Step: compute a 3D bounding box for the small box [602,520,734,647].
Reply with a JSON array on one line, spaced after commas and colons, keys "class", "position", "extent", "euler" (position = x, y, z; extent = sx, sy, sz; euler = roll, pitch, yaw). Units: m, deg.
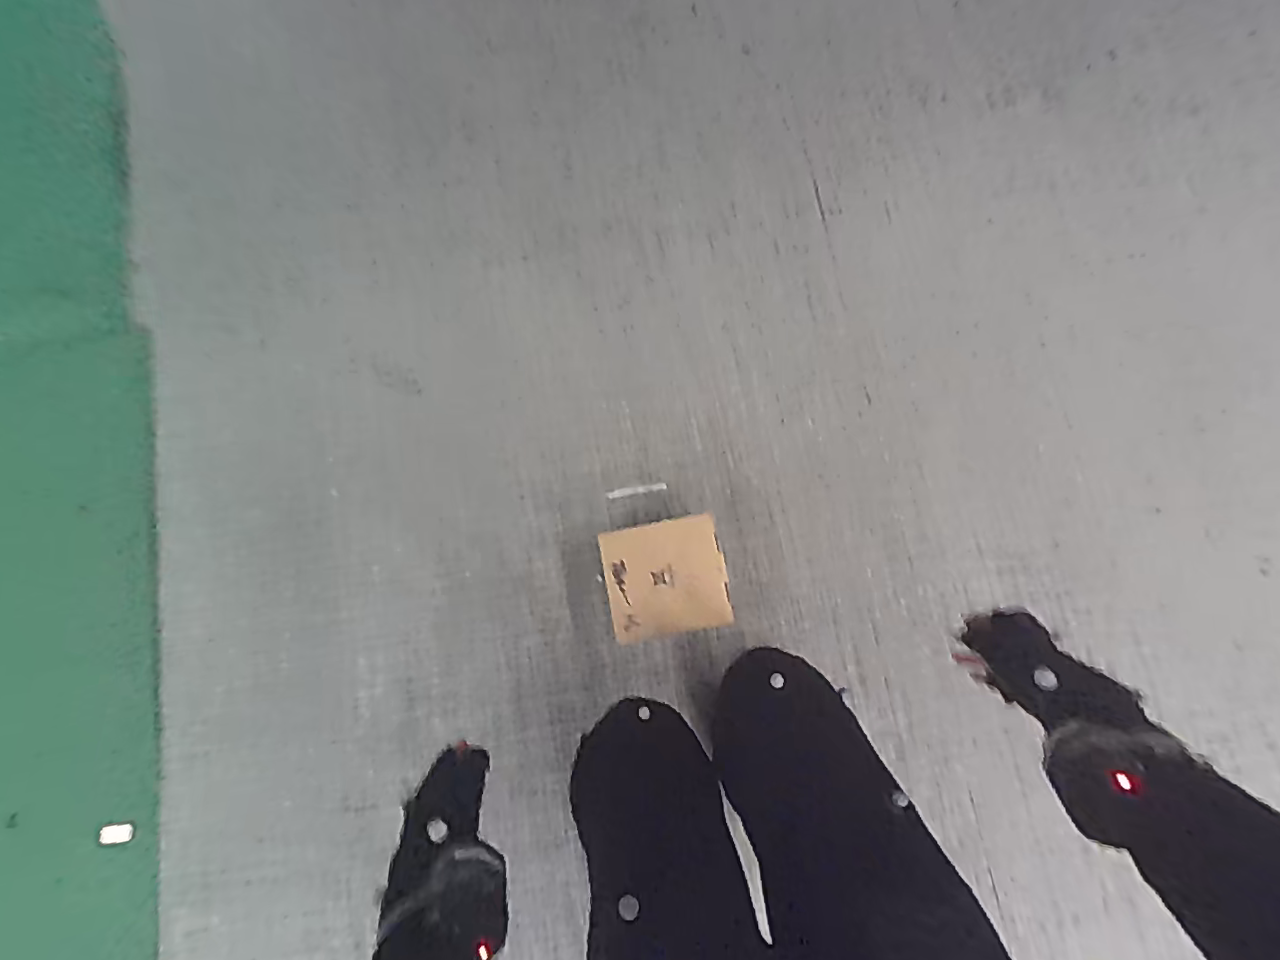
[{"class": "small box", "position": [0.040, 0.164, 0.882], "extent": [0.179, 0.176, 0.168], "euler": [-11, 80, -1]}]
